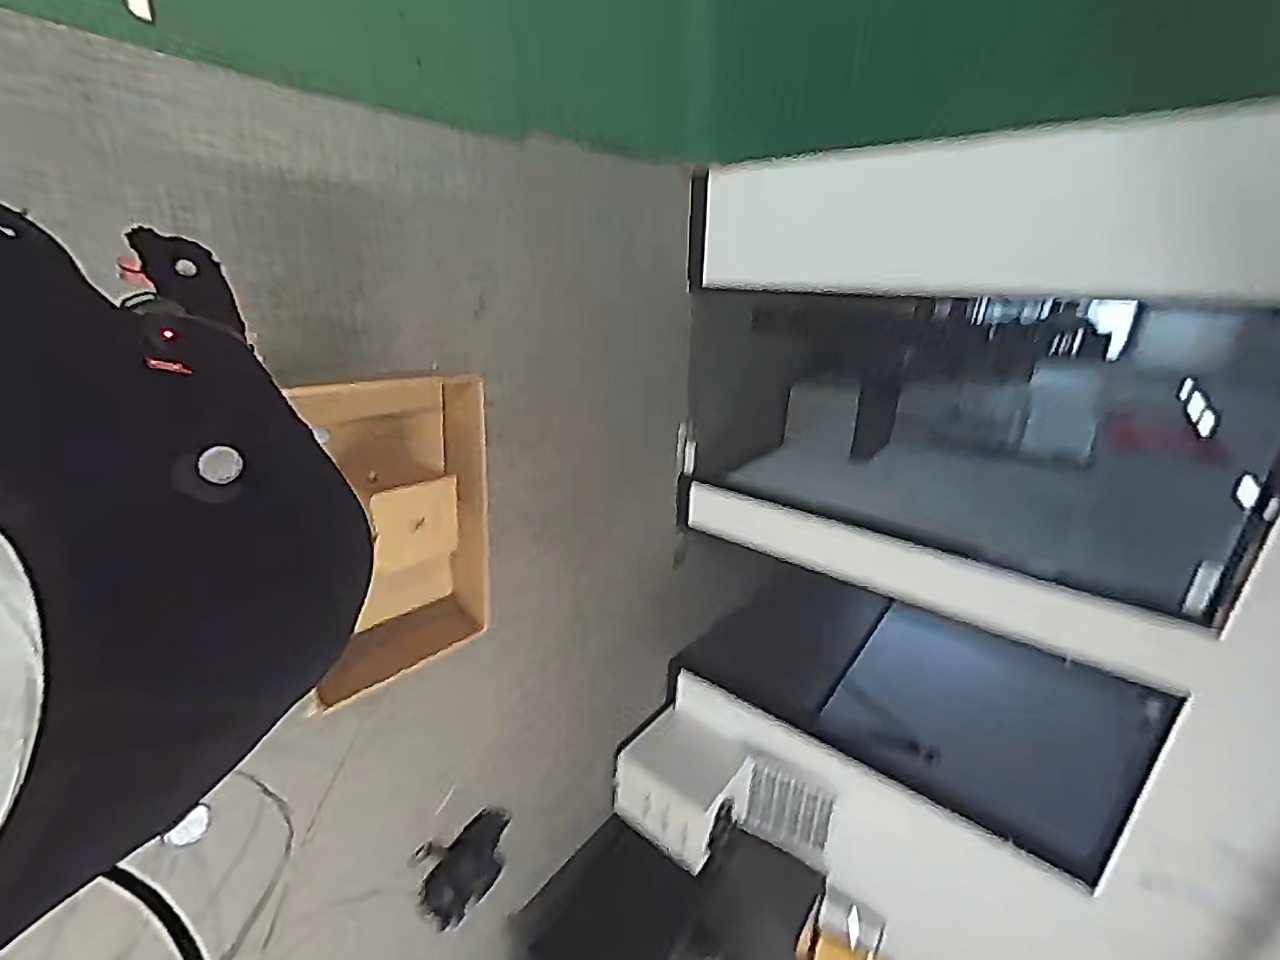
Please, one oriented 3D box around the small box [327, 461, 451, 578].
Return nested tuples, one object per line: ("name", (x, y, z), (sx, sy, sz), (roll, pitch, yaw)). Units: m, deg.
("small box", (-0.507, 0.070, 1.089), (0.179, 0.176, 0.168), (-20, 122, -51))
